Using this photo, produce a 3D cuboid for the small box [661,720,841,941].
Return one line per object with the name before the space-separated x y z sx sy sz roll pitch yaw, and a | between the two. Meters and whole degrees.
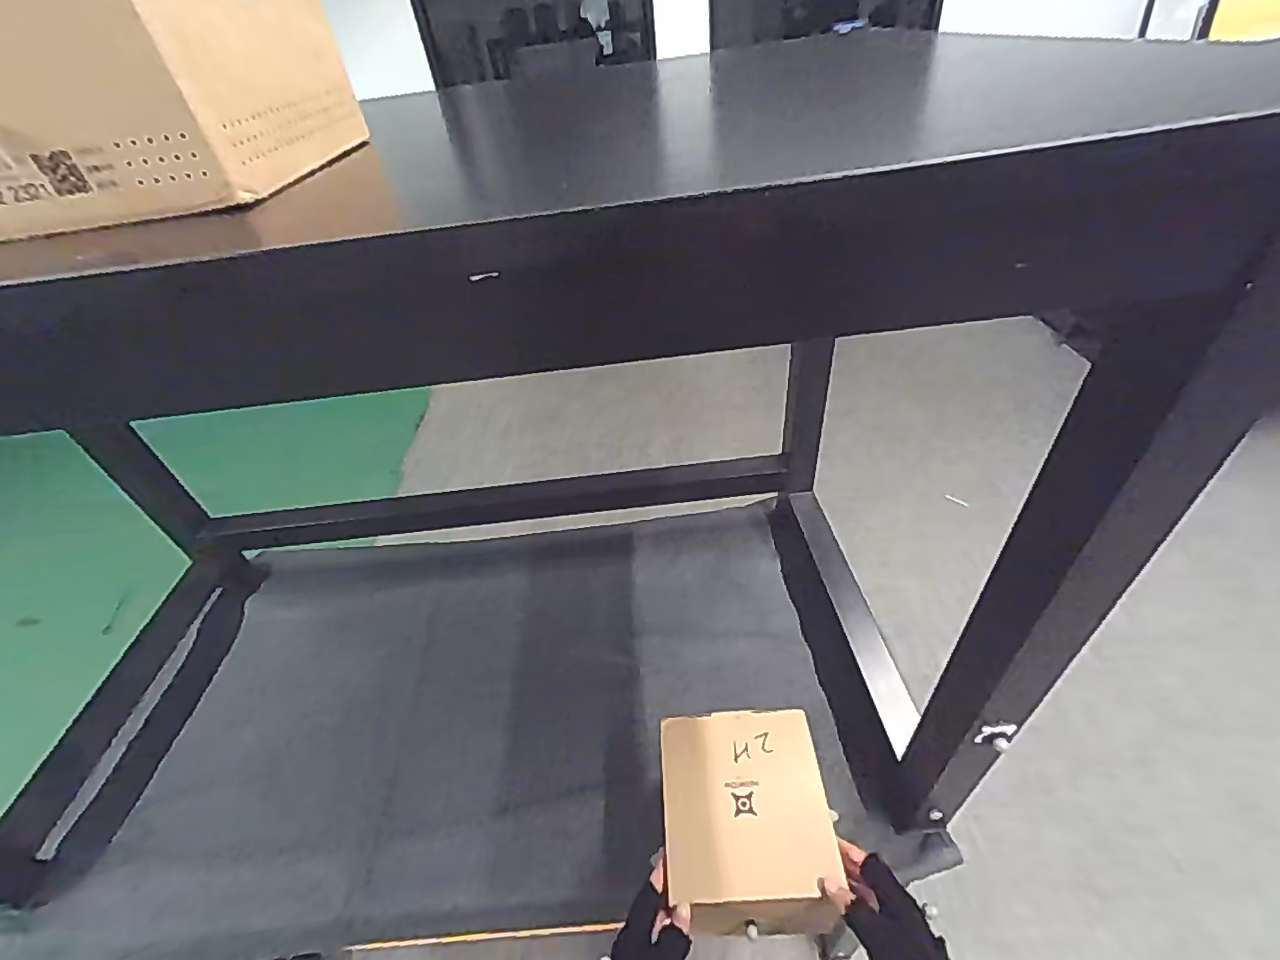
small box | 0.110 0.391 0.604 0.168 0.176 0.179 -2 42 3
